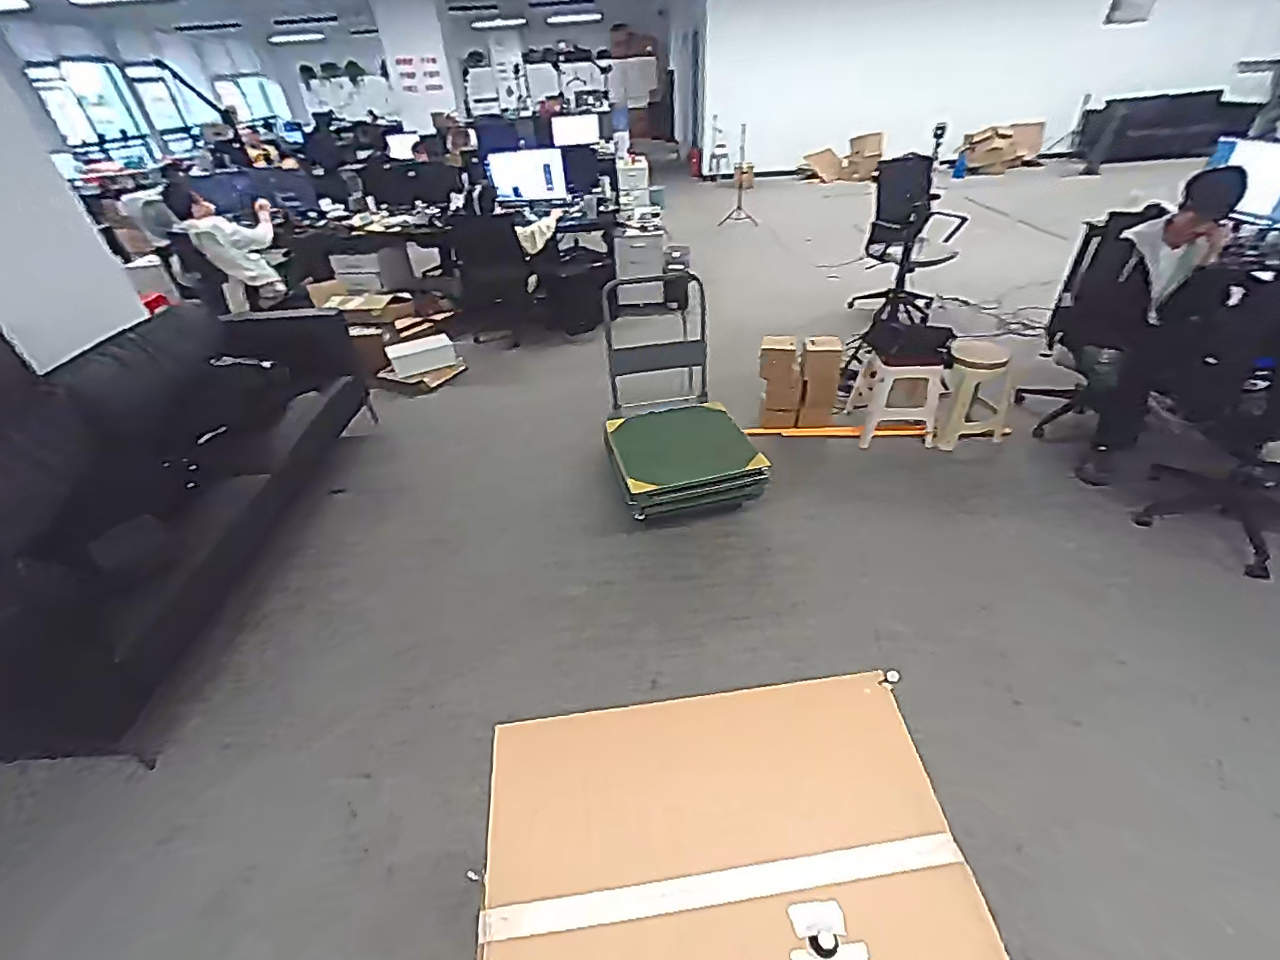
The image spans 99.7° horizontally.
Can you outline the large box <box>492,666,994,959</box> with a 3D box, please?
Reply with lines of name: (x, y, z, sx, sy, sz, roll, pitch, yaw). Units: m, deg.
large box: (0.074, 0.436, 0.579, 0.408, 0.320, 0.320, -7, 50, -4)
